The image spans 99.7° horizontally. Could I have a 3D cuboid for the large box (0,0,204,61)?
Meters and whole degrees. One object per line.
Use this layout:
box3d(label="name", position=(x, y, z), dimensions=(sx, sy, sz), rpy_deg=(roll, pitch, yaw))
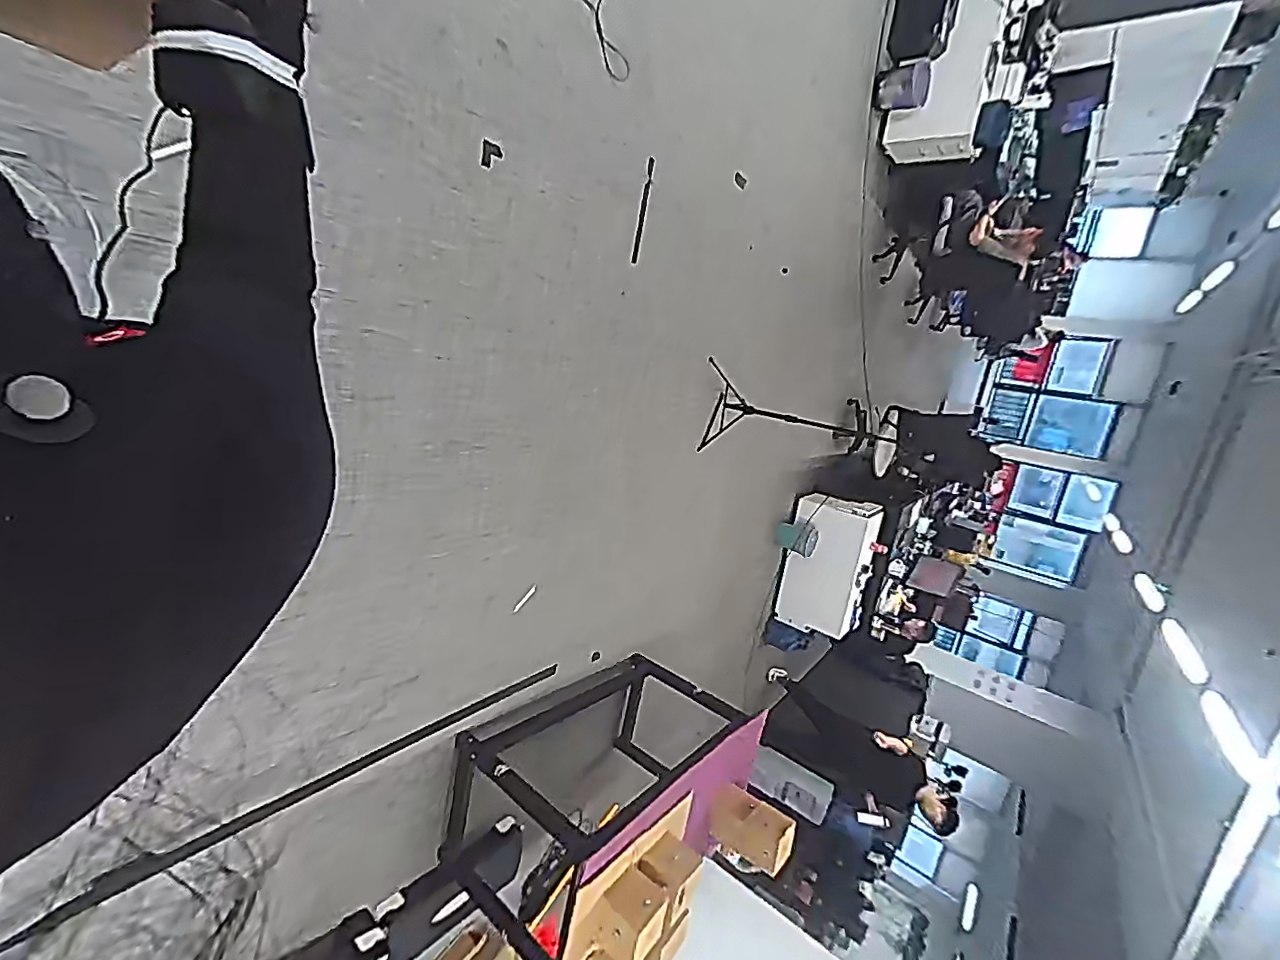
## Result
box3d(label="large box", position=(-0.491, -0.488, 0.249), dimensions=(0.408, 0.320, 0.320), rpy_deg=(-5, 112, -54))
